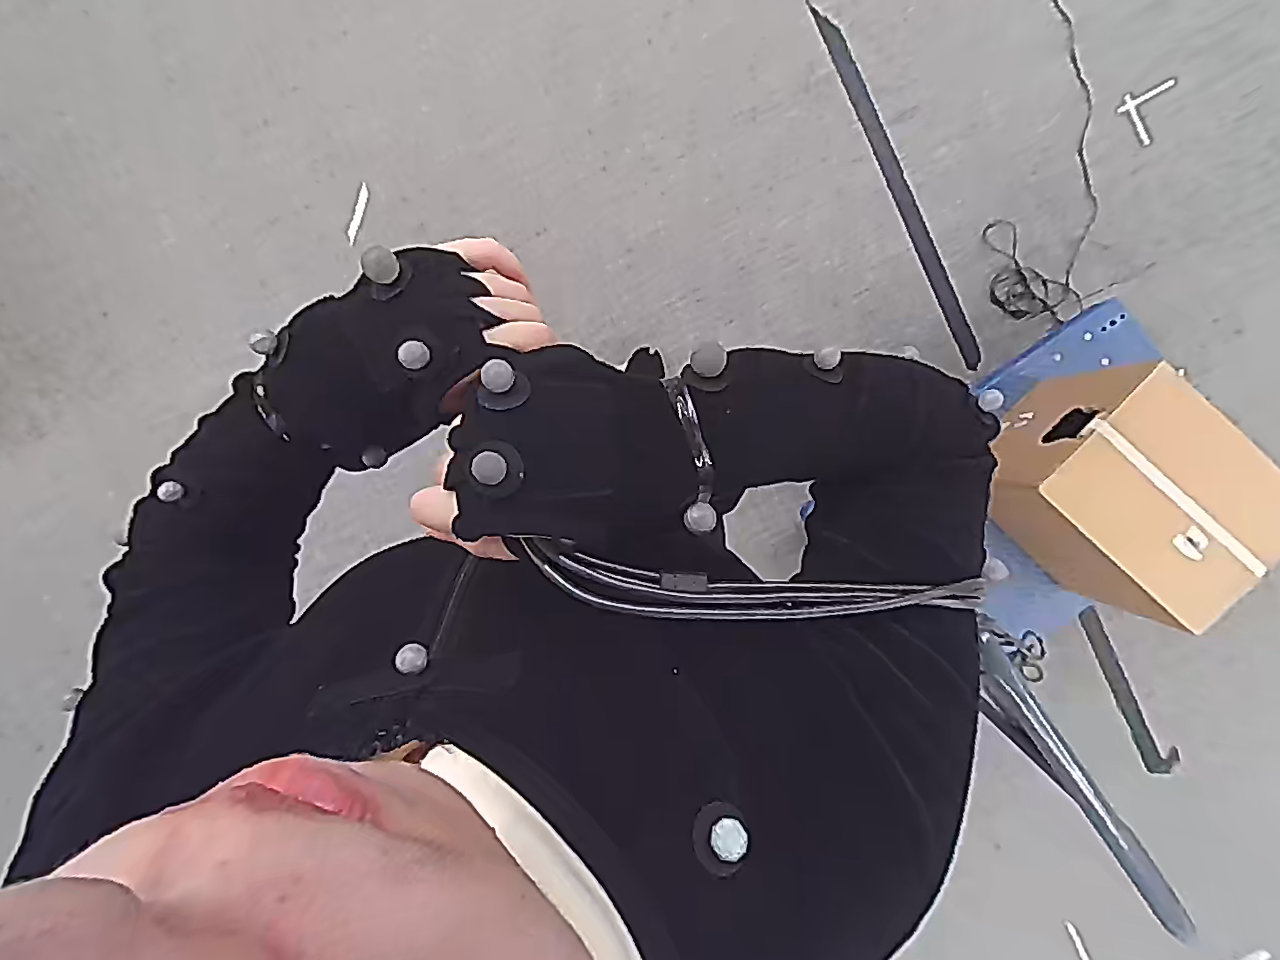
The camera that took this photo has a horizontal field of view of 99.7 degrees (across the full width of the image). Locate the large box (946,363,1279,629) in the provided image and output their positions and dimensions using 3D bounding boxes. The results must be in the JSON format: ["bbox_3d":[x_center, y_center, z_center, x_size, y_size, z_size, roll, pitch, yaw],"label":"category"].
[{"bbox_3d":[0.953,0.022,1.115,0.408,0.320,0.320,42,95,-2],"label":"large box"}]
